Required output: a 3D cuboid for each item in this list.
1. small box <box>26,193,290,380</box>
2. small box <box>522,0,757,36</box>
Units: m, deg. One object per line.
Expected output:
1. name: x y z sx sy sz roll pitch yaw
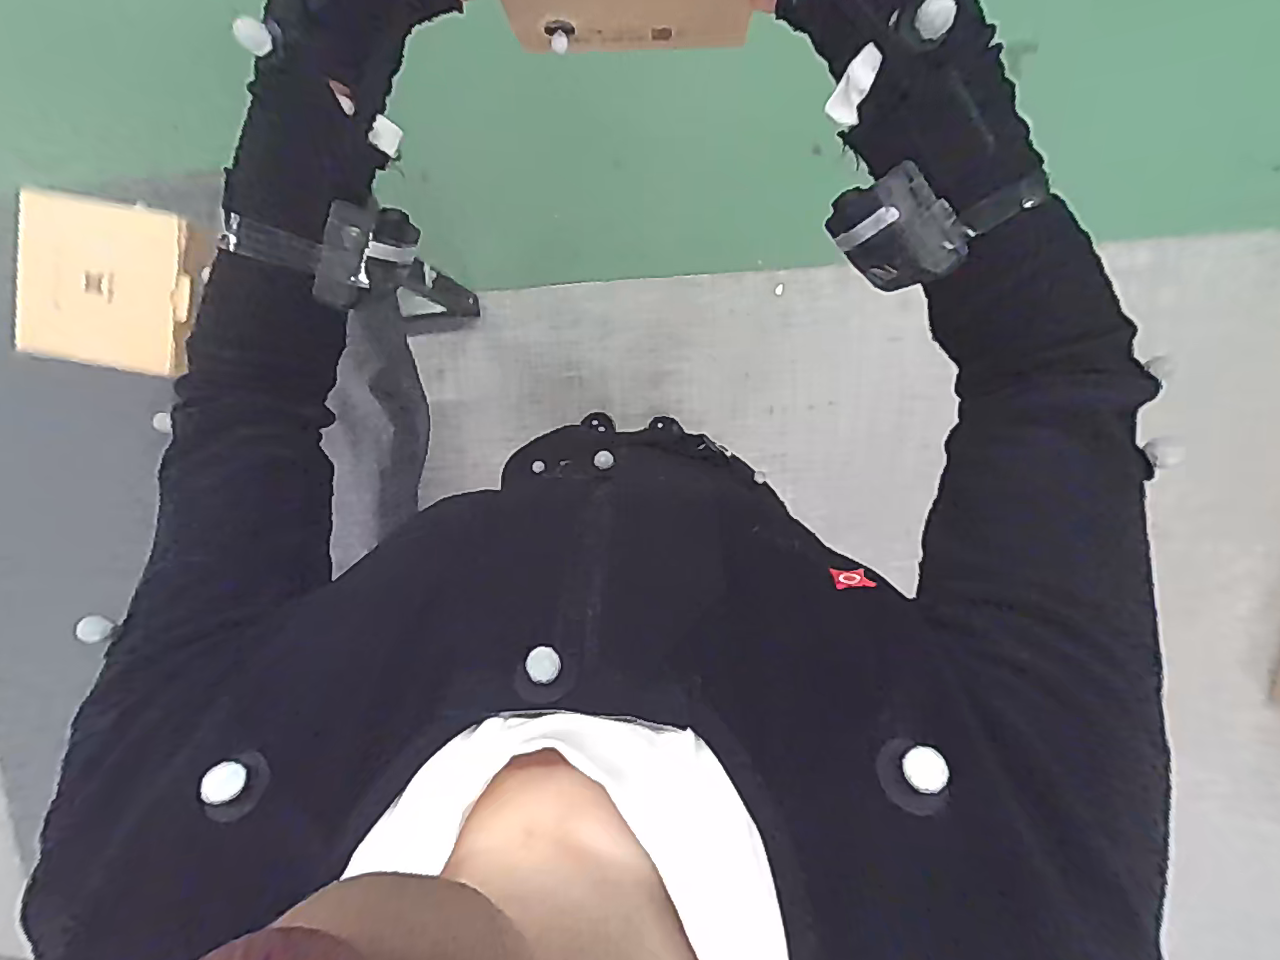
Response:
1. small box: -0.560 -0.216 0.649 0.179 0.176 0.168 9 97 3
2. small box: -0.003 -0.388 0.300 0.168 0.176 0.179 2 102 3
